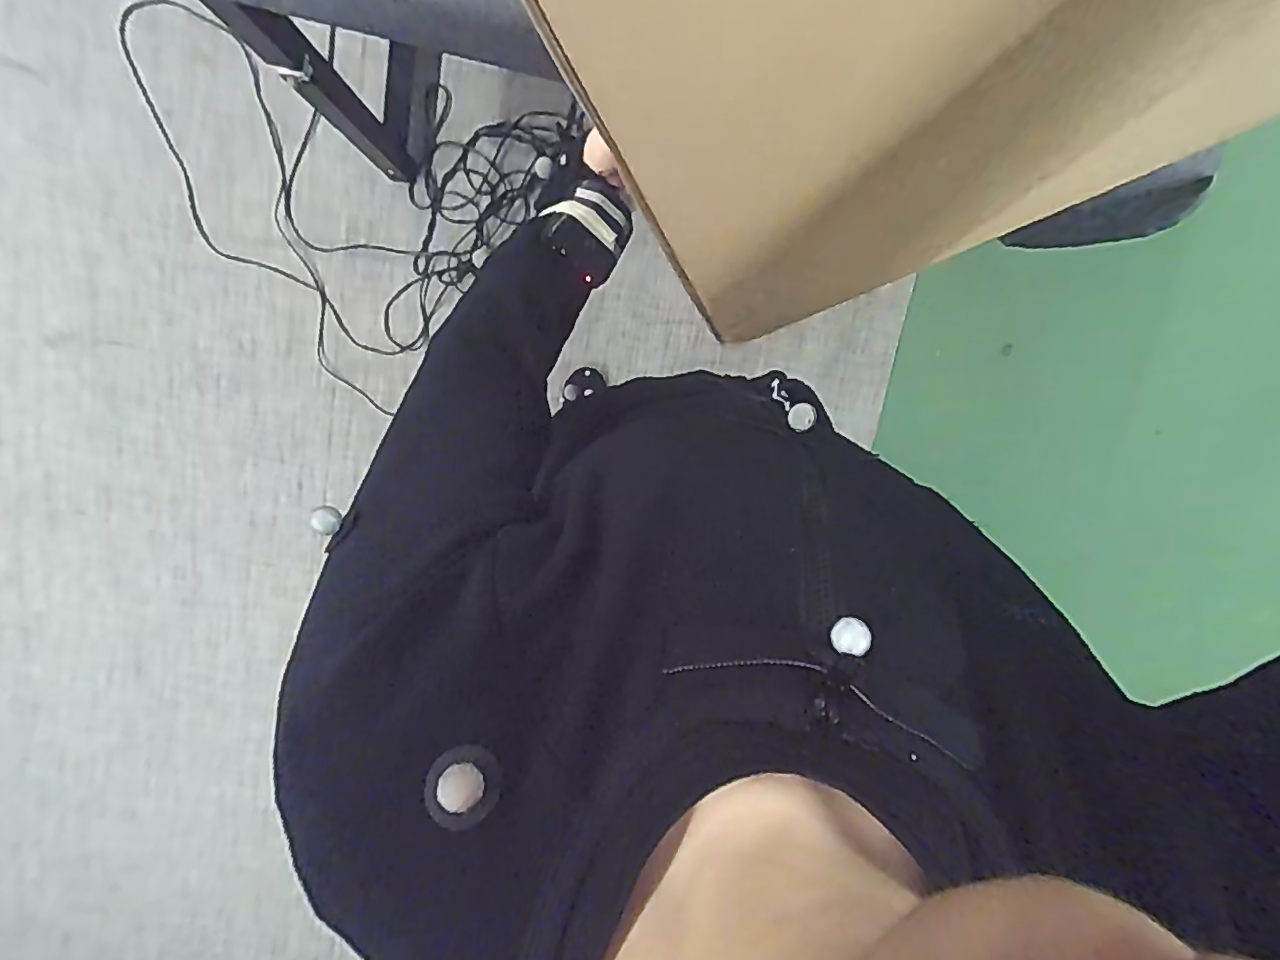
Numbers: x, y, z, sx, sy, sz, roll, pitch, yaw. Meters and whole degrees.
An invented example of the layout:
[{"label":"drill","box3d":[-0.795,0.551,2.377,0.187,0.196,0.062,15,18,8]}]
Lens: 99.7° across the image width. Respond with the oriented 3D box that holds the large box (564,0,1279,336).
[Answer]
[{"label":"large box","box3d":[0.151,-0.341,0.242,0.408,0.320,0.320,-23,61,20]}]
